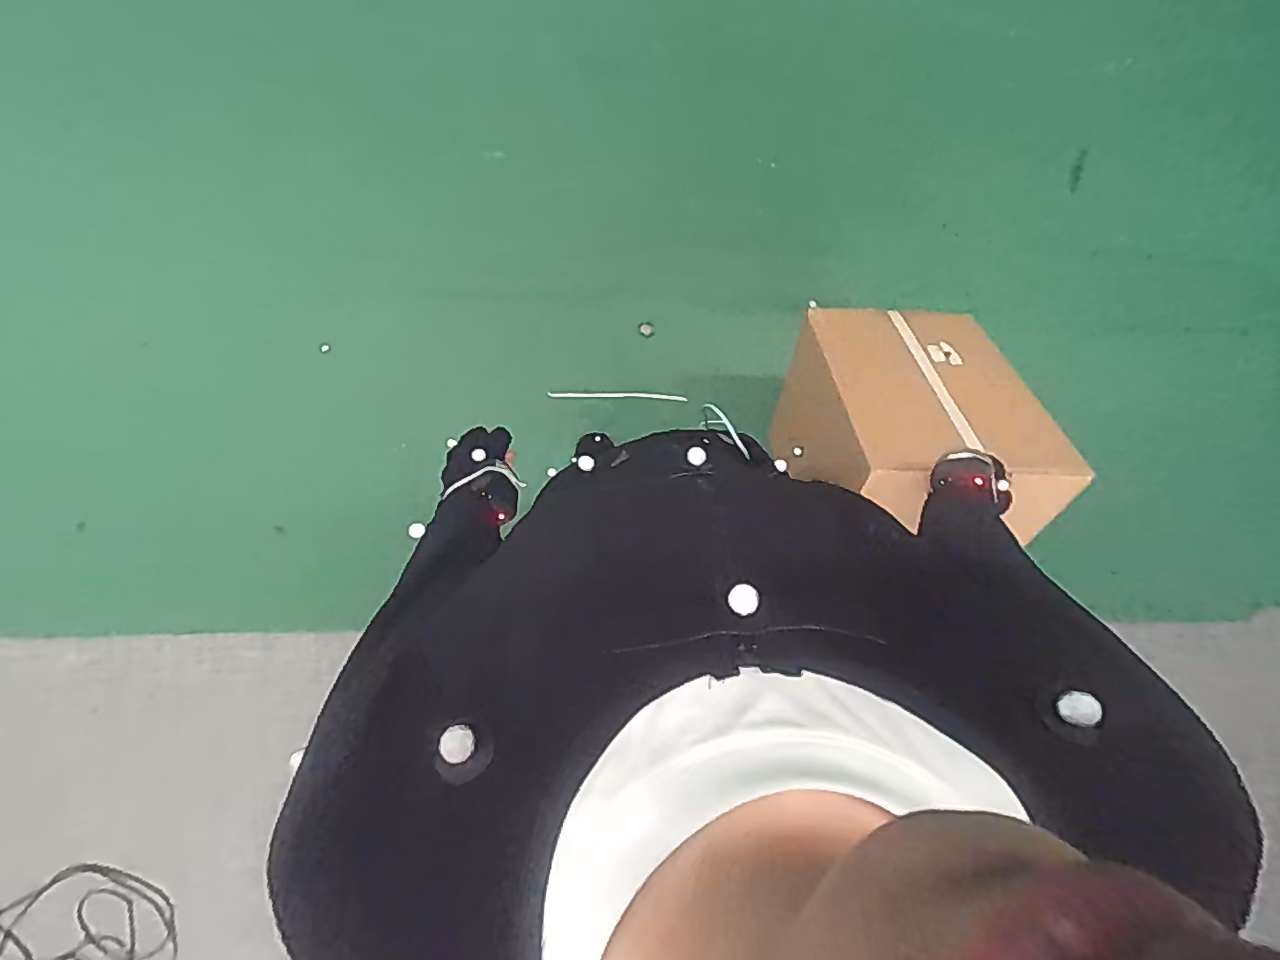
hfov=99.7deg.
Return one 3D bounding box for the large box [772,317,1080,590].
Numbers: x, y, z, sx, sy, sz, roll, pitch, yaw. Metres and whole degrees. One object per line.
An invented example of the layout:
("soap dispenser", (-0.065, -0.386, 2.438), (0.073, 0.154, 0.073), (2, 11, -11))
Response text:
("large box", (0.450, -0.049, 0.981), (0.320, 0.408, 0.320), (3, 136, -2))
